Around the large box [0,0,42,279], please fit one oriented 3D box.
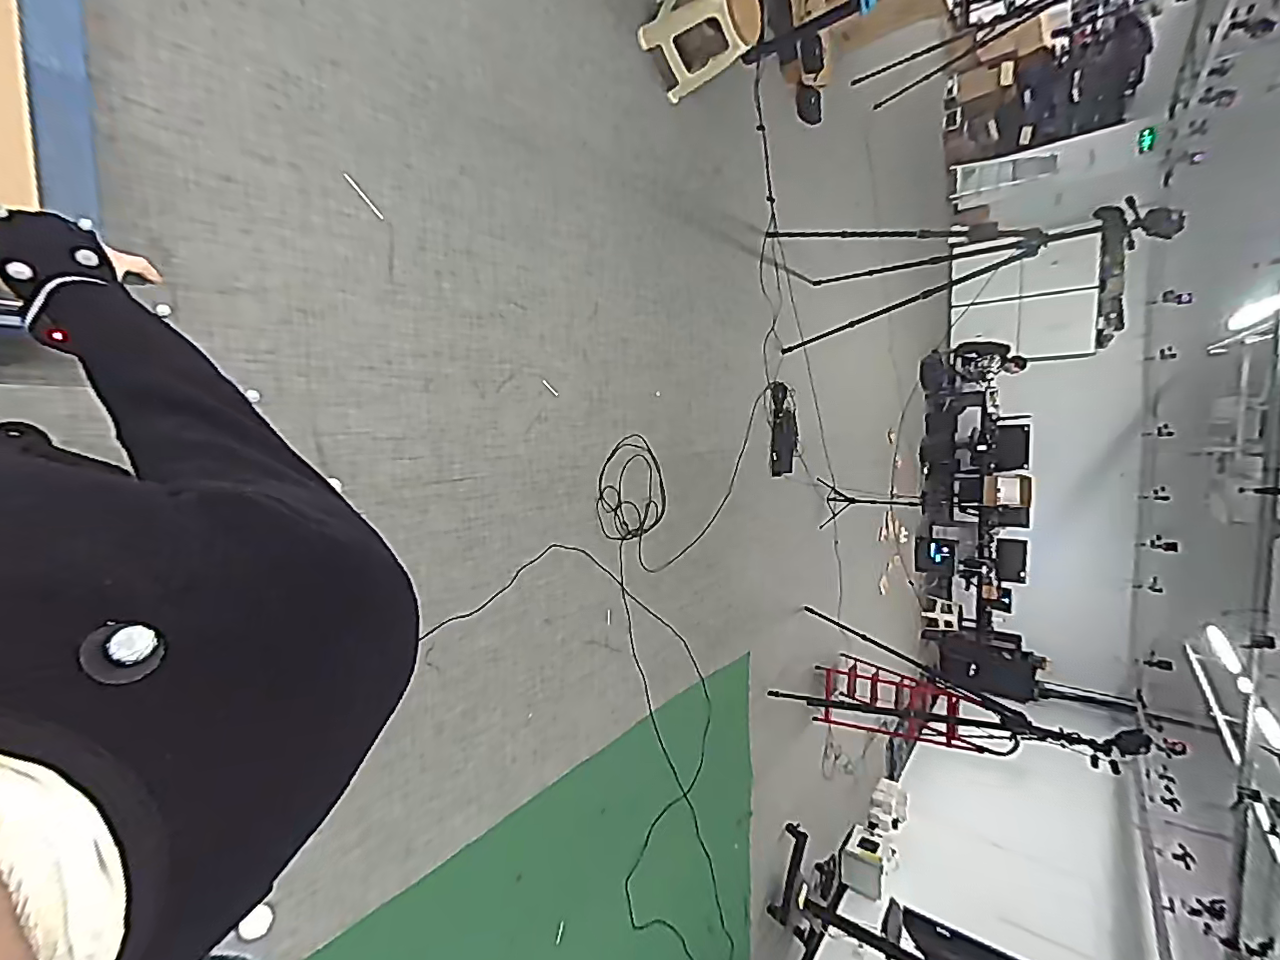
[{"bbox_3d":[-1.110,-0.541,0.761,0.320,0.320,0.408,-9,97,-51],"label":"large box"}]
